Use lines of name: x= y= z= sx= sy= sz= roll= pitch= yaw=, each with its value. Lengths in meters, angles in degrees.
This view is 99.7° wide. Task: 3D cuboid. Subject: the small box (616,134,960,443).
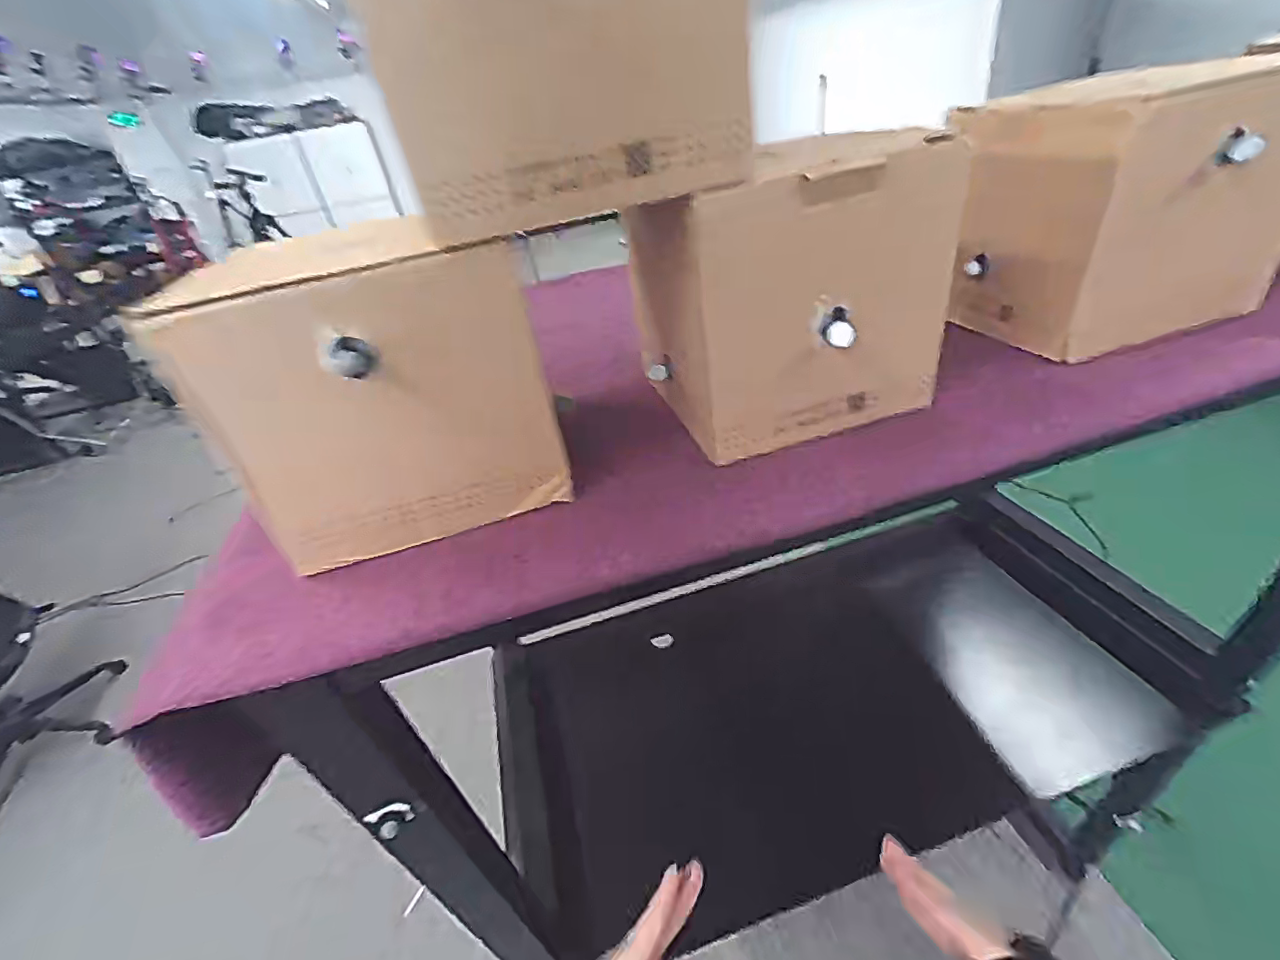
small box: x=0.093 y=-0.142 z=0.402 sx=0.168 sy=0.176 sz=0.179 roll=-16 pitch=35 yaw=-8

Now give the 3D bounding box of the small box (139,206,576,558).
small box: x=-0.156 y=-0.072 z=0.366 sx=0.179 sy=0.176 sz=0.168 roll=-15 pitch=35 yaw=-9

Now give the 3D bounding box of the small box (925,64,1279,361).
small box: x=0.363 y=-0.217 z=0.442 sx=0.179 sy=0.176 sz=0.168 roll=-16 pitch=34 yaw=-7
